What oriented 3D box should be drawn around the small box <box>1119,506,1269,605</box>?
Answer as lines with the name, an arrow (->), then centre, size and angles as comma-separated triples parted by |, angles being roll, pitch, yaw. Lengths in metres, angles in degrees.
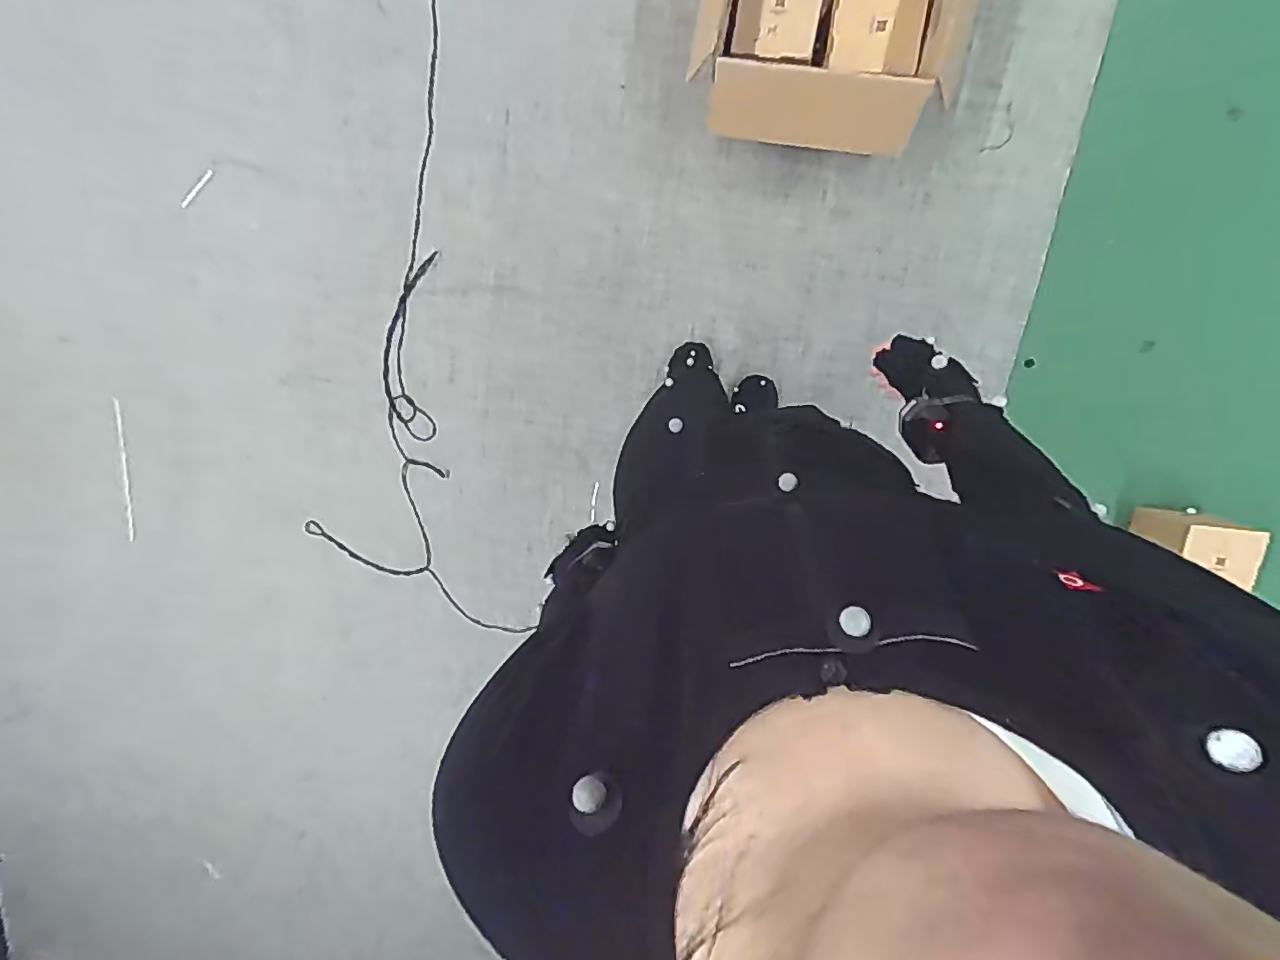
small box -> 1.306, 0.174, 1.291 | 0.168, 0.176, 0.179 | 7, 102, 6
